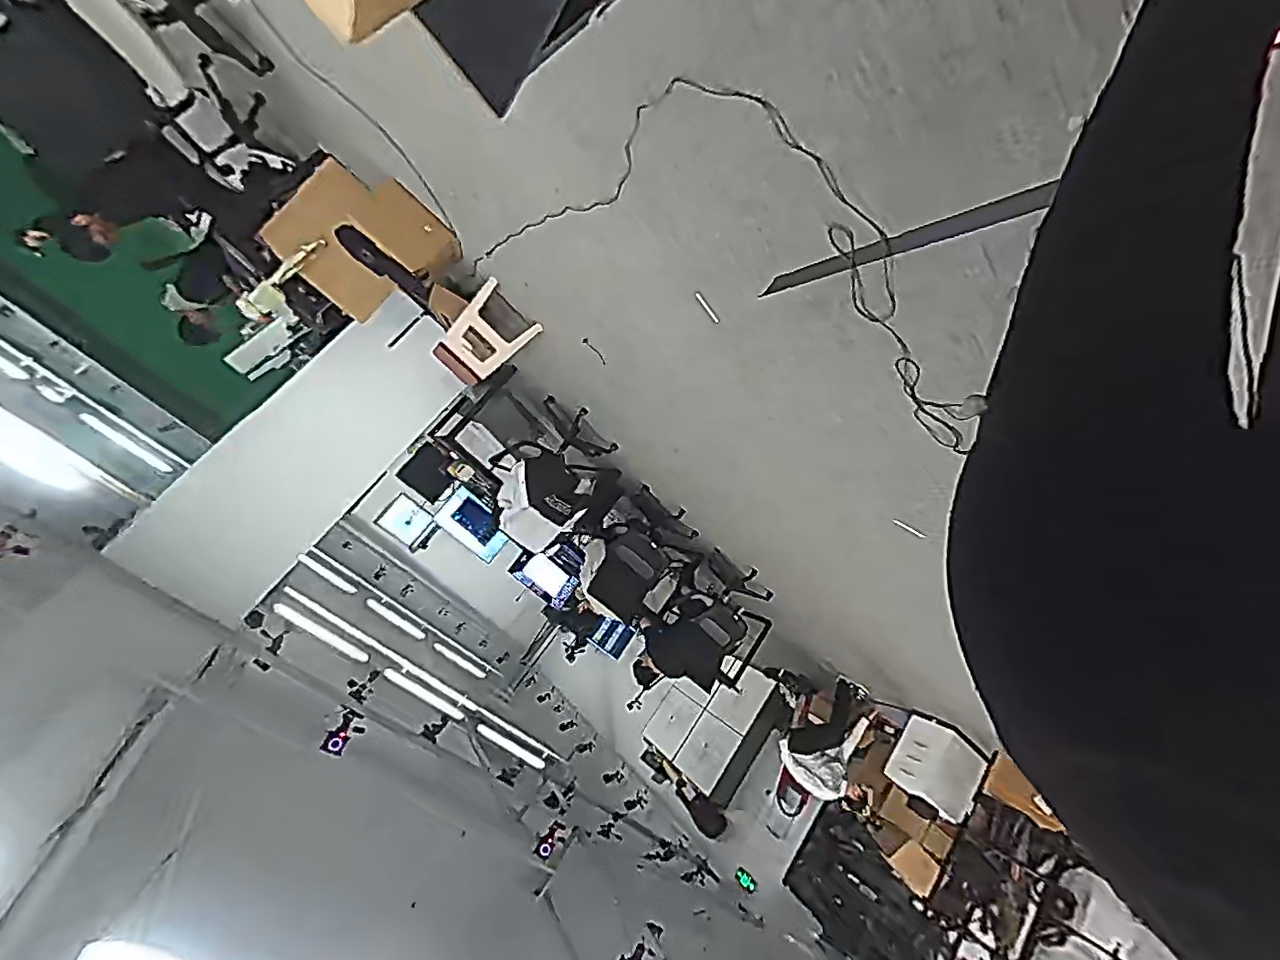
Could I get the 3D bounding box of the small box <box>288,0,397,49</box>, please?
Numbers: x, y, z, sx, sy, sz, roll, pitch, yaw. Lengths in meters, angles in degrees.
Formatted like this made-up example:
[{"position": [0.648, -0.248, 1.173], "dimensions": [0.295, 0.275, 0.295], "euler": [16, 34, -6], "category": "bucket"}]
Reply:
[{"position": [-0.255, -0.521, 0.439], "dimensions": [0.168, 0.176, 0.179], "euler": [45, 161, -26], "category": "small box"}]
